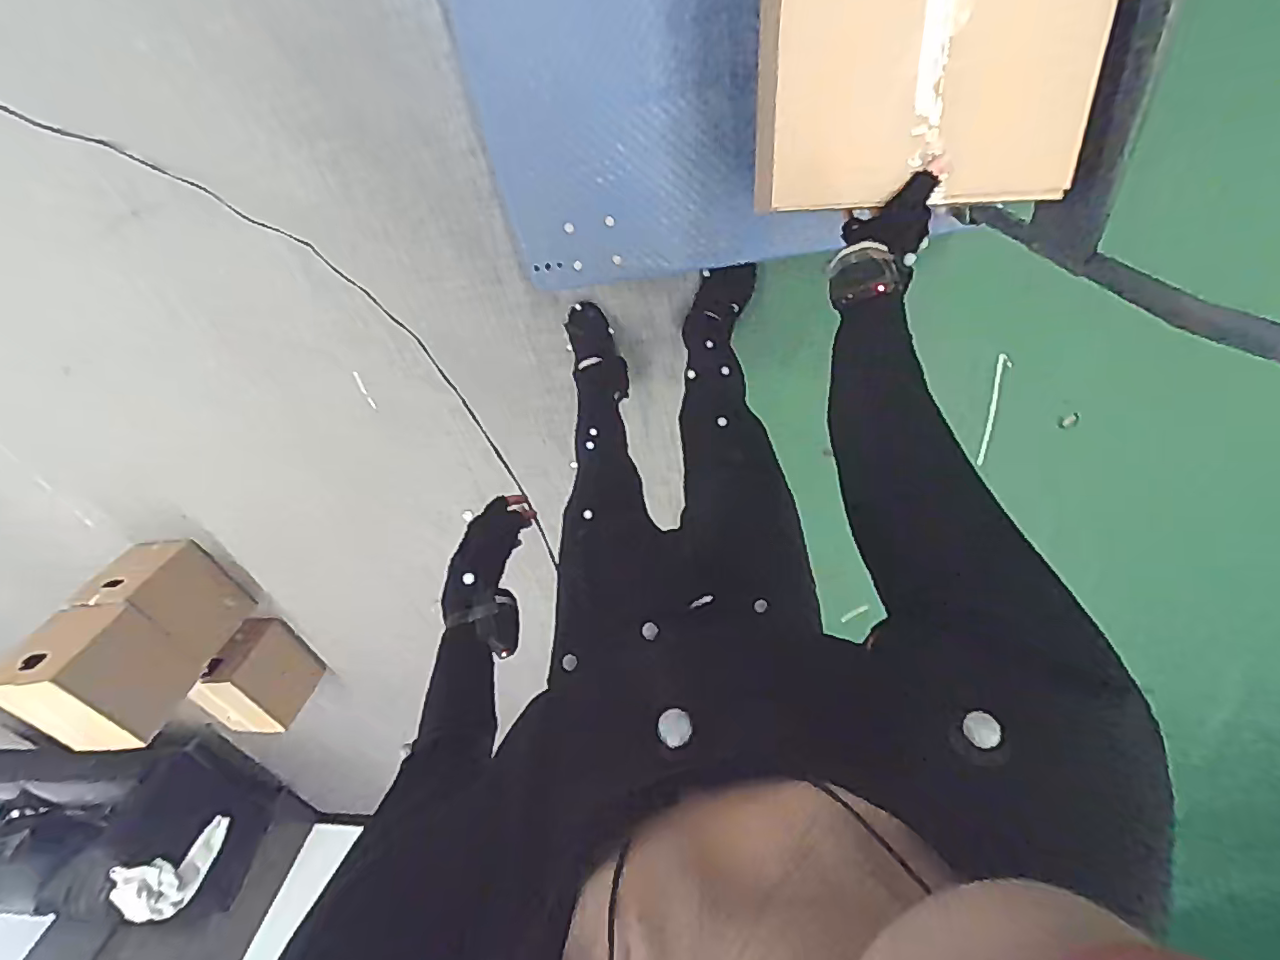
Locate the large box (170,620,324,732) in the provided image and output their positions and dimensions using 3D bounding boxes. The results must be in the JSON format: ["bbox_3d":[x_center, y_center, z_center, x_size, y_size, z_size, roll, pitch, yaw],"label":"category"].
[{"bbox_3d":[-1.722,0.870,2.409,0.320,0.320,0.408,-4,128,14],"label":"large box"}]
